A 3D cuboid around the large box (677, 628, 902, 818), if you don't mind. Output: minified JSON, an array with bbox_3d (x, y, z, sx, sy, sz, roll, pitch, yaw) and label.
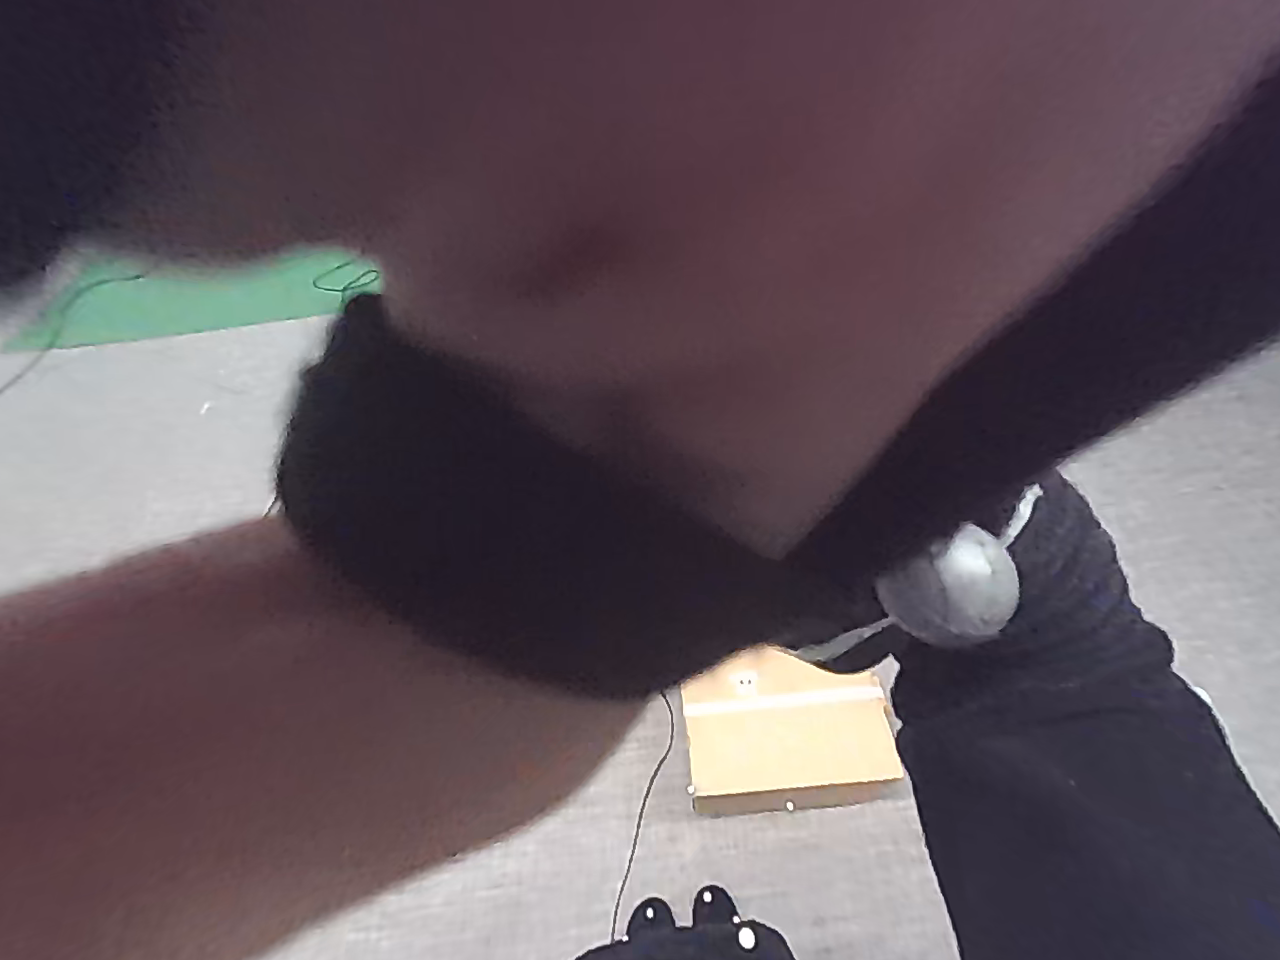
[{"bbox_3d":[0.309,0.566,1.240,0.408,0.320,0.320,-7,51,3],"label":"large box"}]
